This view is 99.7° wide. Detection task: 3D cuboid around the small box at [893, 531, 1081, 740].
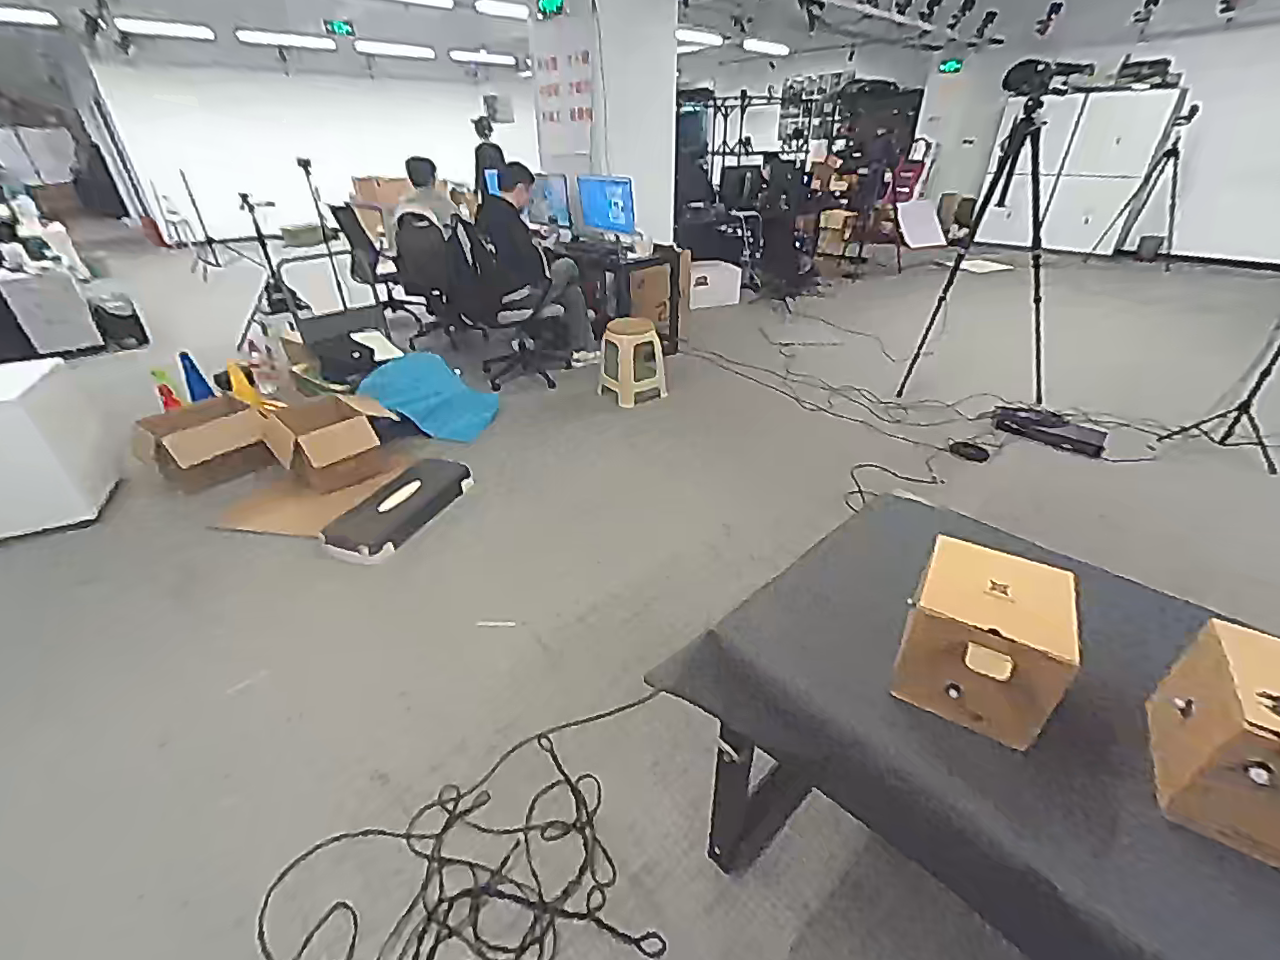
[{"bbox_3d":[0.460,0.203,0.732,0.168,0.176,0.179,18,37,27],"label":"small box"}]
